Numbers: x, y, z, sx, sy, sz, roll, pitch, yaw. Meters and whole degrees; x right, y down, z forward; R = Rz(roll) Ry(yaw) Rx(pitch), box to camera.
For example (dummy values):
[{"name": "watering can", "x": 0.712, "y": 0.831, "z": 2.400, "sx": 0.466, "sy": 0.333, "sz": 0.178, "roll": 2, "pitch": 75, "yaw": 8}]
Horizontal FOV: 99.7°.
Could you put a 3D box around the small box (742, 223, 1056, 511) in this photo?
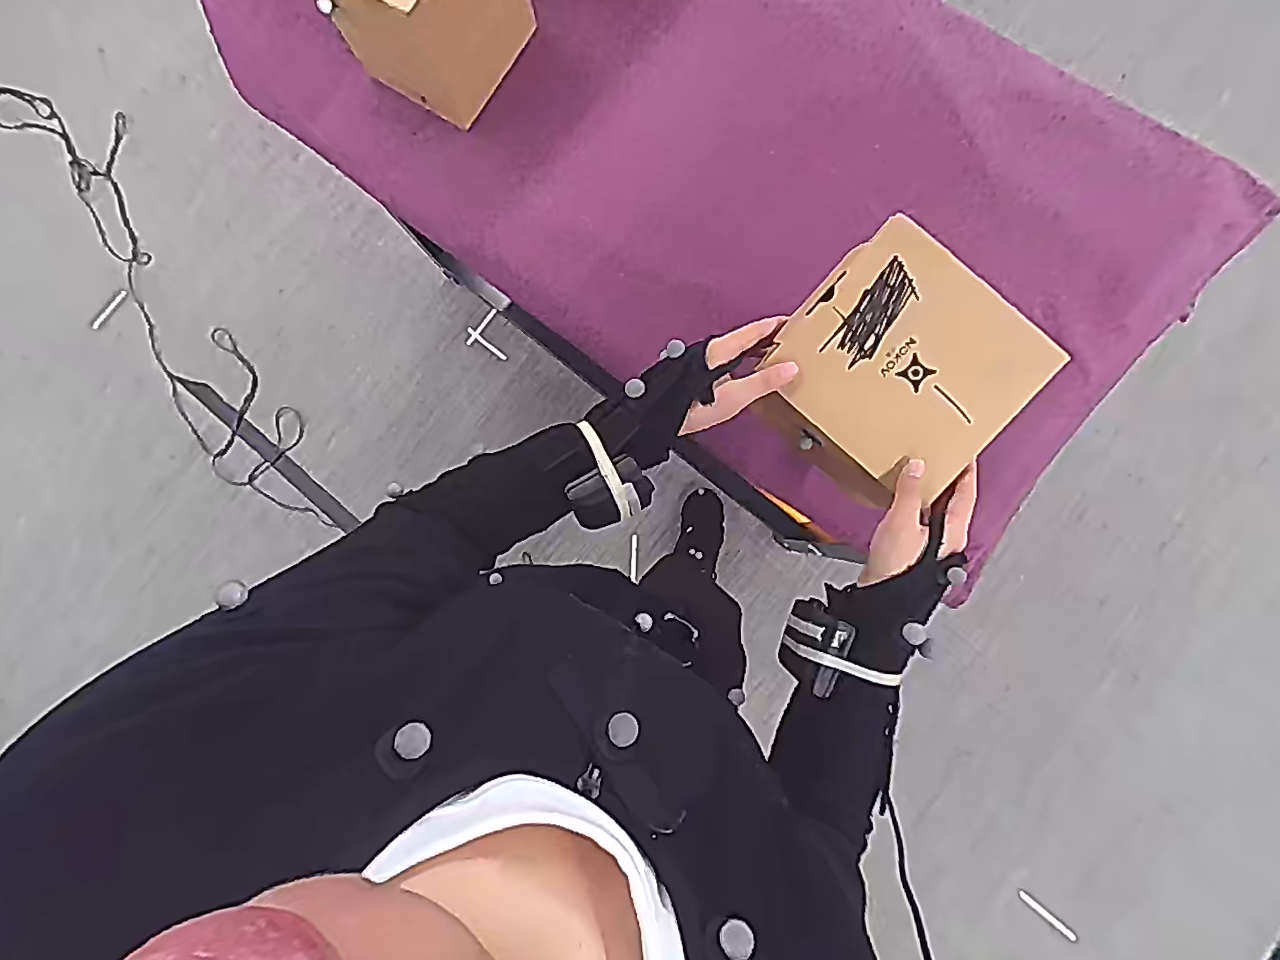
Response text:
[{"name": "small box", "x": 0.214, "y": -0.090, "z": 0.508, "sx": 0.179, "sy": 0.176, "sz": 0.168, "roll": 42, "pitch": 96, "yaw": 3}]
